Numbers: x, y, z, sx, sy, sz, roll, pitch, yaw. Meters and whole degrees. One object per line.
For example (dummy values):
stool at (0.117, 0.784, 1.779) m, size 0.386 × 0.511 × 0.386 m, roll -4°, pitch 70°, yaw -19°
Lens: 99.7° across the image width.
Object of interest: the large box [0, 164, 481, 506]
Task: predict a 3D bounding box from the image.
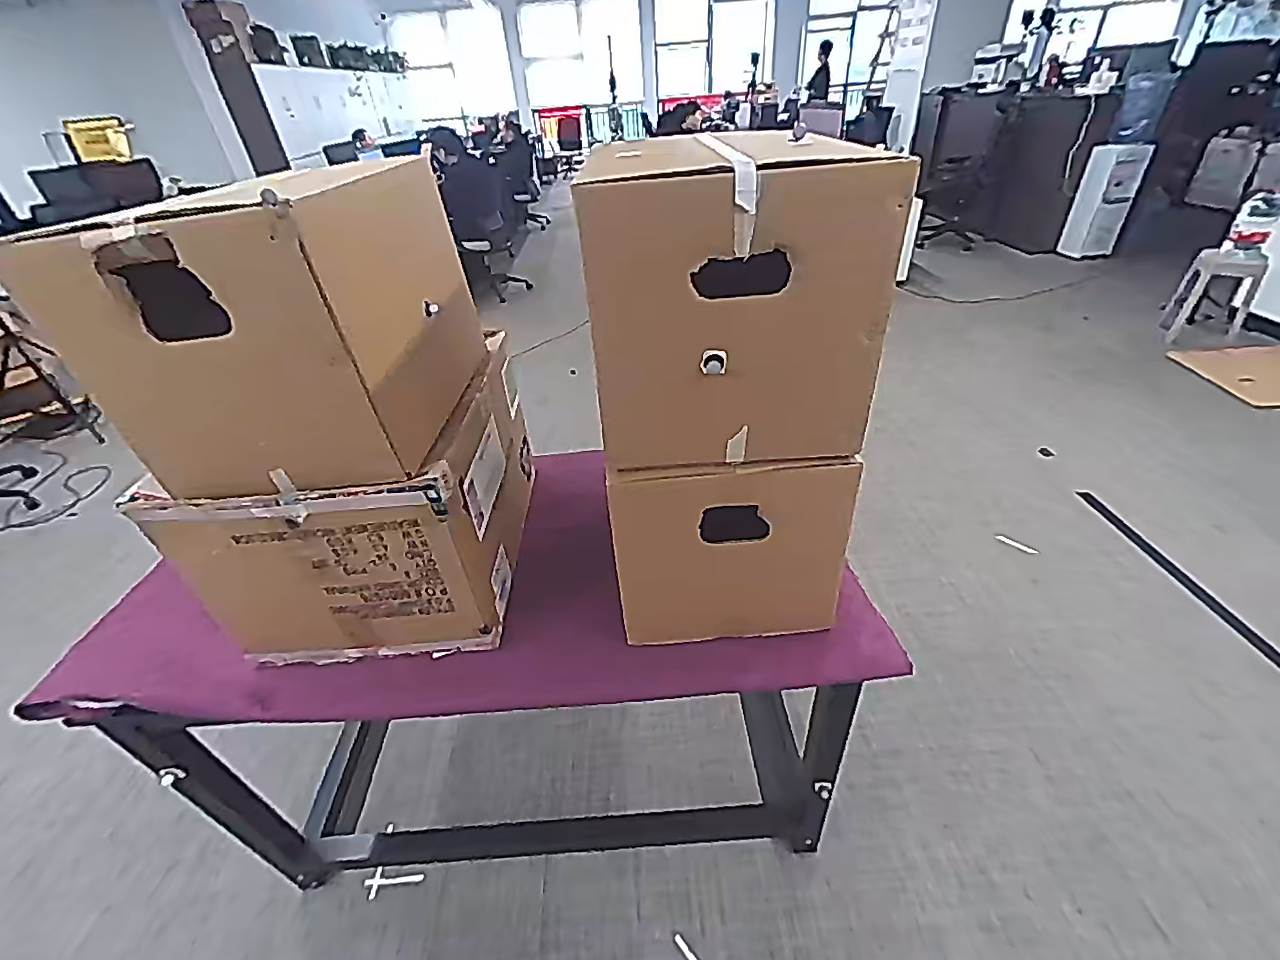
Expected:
large box at (-0.445, -0.219, 0.745) m, size 0.320 × 0.320 × 0.408 m, roll -7°, pitch 36°, yaw 4°
